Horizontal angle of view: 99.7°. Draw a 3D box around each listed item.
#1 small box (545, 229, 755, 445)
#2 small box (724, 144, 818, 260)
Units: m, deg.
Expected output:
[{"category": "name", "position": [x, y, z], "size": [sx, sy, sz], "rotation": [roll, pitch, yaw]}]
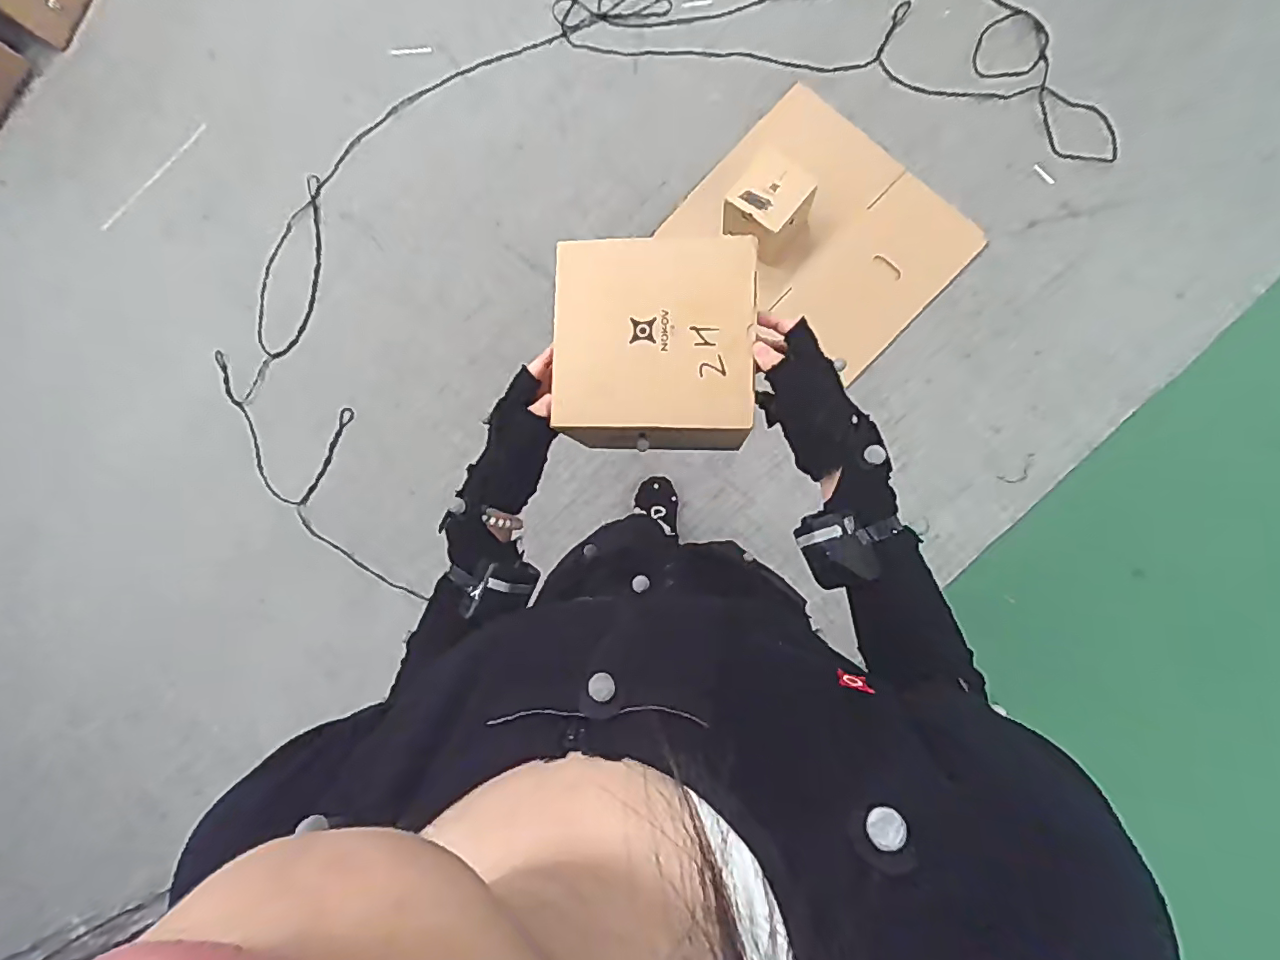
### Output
[{"category": "small box", "position": [0.017, -0.126, 0.537], "size": [0.179, 0.176, 0.168], "rotation": [1, 87, 6]}, {"category": "small box", "position": [0.336, -0.718, 1.420], "size": [0.168, 0.176, 0.179], "rotation": [40, 90, 8]}]
